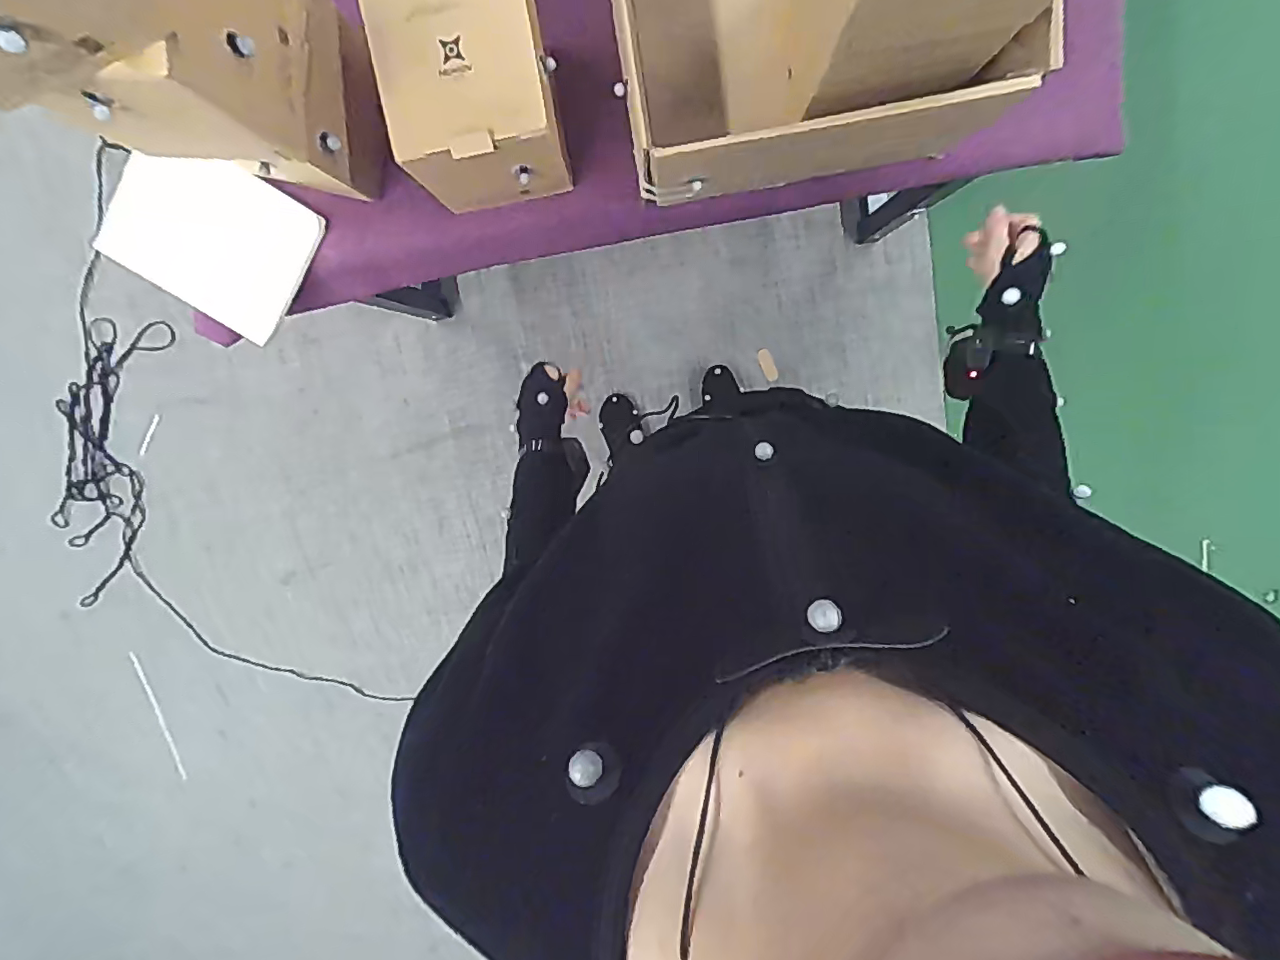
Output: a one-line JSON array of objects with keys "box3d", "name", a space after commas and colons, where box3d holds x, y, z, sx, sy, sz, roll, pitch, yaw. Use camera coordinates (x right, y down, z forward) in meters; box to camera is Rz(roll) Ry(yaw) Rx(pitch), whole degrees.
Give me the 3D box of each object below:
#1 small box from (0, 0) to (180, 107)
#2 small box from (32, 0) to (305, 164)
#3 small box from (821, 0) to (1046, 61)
[{"box3d": [-0.438, -0.371, 0.313, 0.168, 0.176, 0.179, -18, 99, 7], "name": "small box"}, {"box3d": [-0.424, -0.399, 0.475, 0.179, 0.176, 0.168, 4, 100, 3], "name": "small box"}, {"box3d": [0.235, -0.444, 0.383, 0.179, 0.176, 0.168, -6, 100, 7], "name": "small box"}]
